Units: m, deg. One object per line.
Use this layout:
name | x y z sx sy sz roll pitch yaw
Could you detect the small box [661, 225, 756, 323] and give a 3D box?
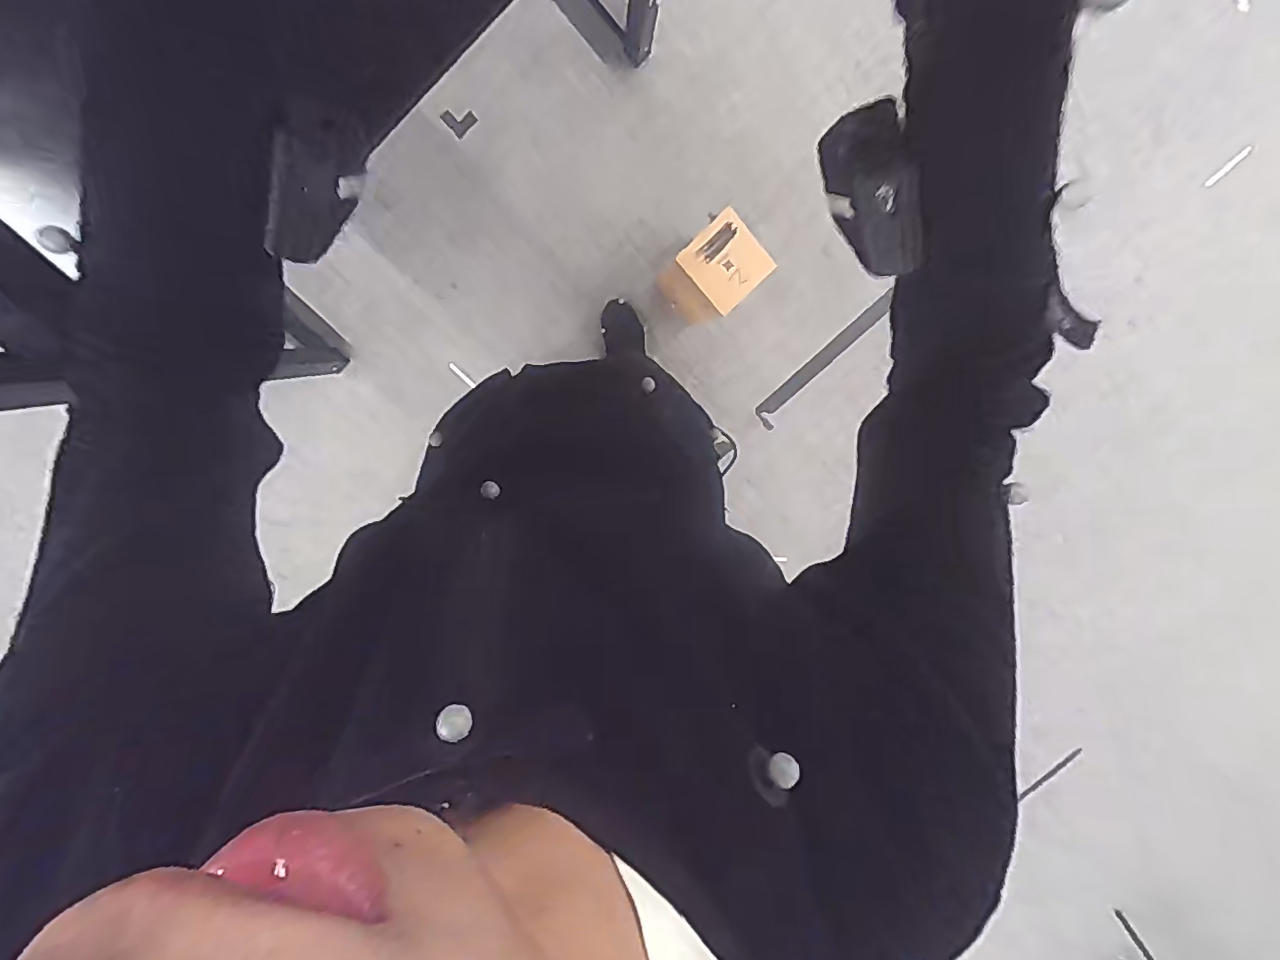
small box | 0.174 -0.541 1.444 0.179 0.176 0.168 -44 103 7
